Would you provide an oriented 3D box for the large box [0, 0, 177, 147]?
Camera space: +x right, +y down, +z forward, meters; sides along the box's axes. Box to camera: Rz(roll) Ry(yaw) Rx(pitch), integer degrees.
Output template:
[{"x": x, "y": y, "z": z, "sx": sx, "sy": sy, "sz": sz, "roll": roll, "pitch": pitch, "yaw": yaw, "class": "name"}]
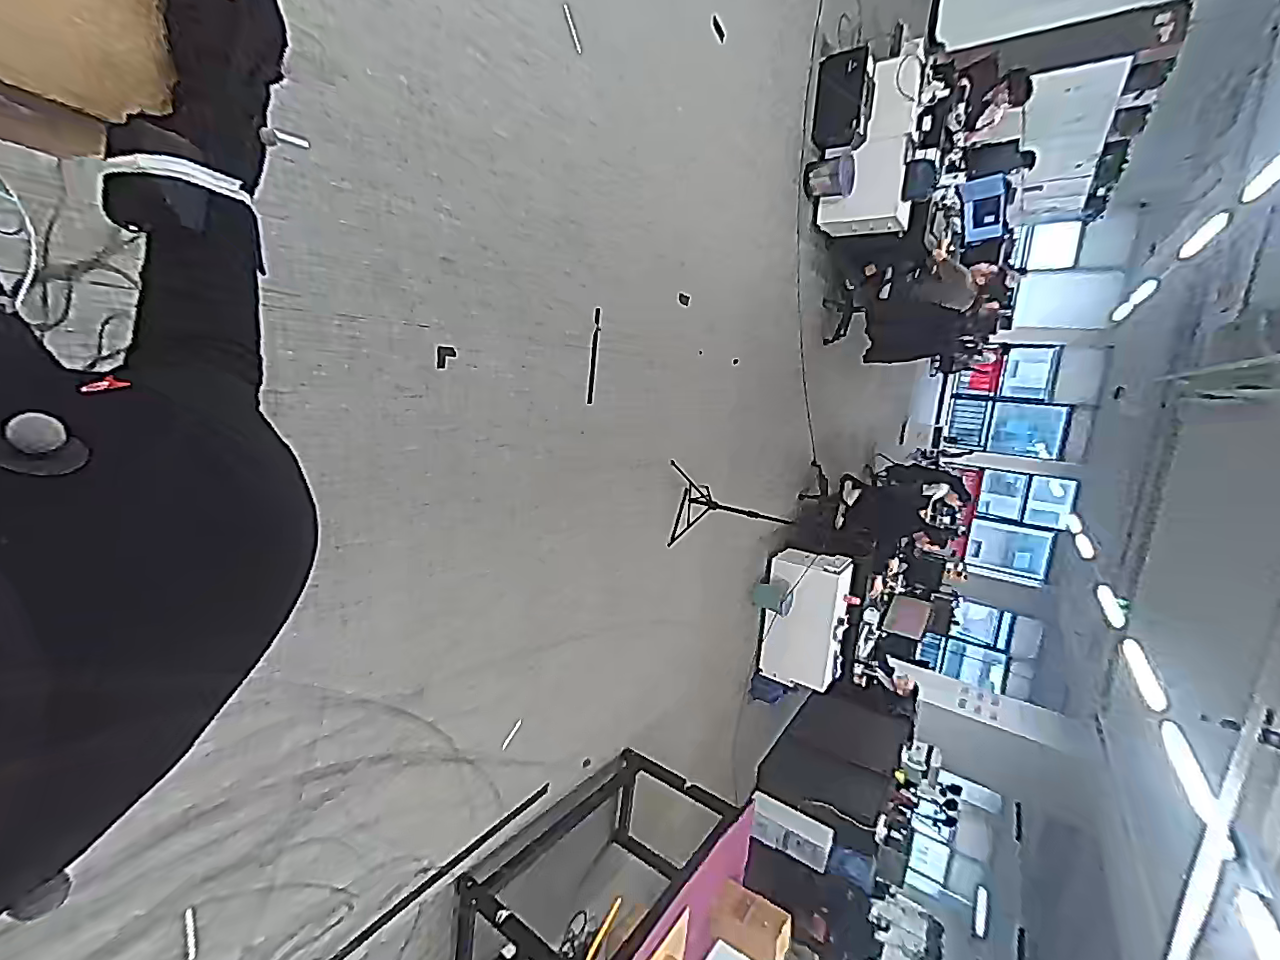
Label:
[{"x": -0.553, "y": -0.441, "z": 0.293, "sx": 0.408, "sy": 0.320, "sz": 0.320, "roll": -2, "pitch": 109, "yaw": -57, "class": "large box"}]
